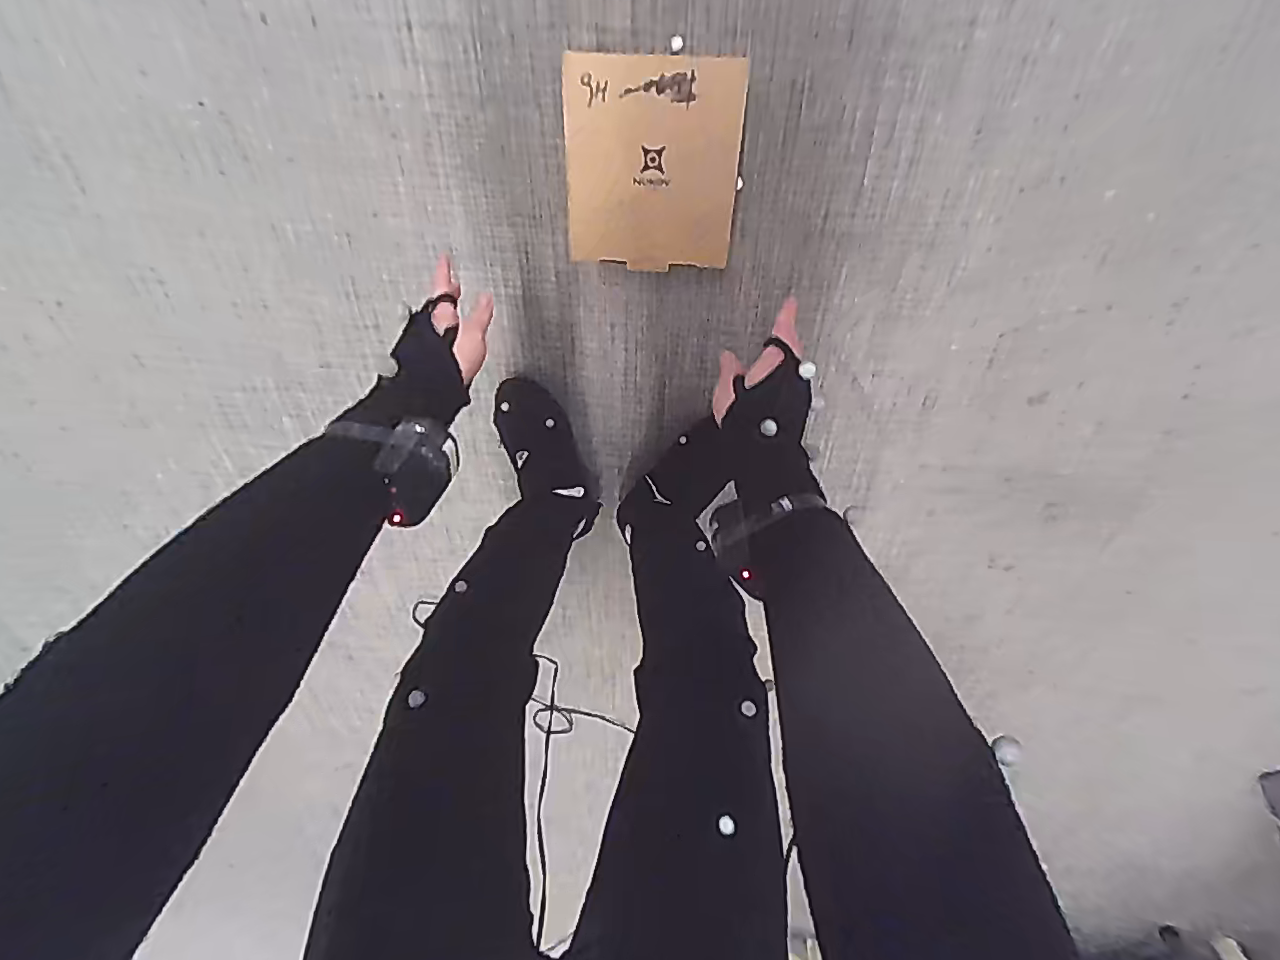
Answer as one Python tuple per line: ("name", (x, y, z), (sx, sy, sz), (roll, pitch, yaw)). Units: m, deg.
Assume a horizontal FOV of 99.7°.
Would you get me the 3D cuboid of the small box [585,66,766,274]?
("small box", (0.036, -0.340, 0.592), (0.168, 0.176, 0.179), (3, 125, 3))
